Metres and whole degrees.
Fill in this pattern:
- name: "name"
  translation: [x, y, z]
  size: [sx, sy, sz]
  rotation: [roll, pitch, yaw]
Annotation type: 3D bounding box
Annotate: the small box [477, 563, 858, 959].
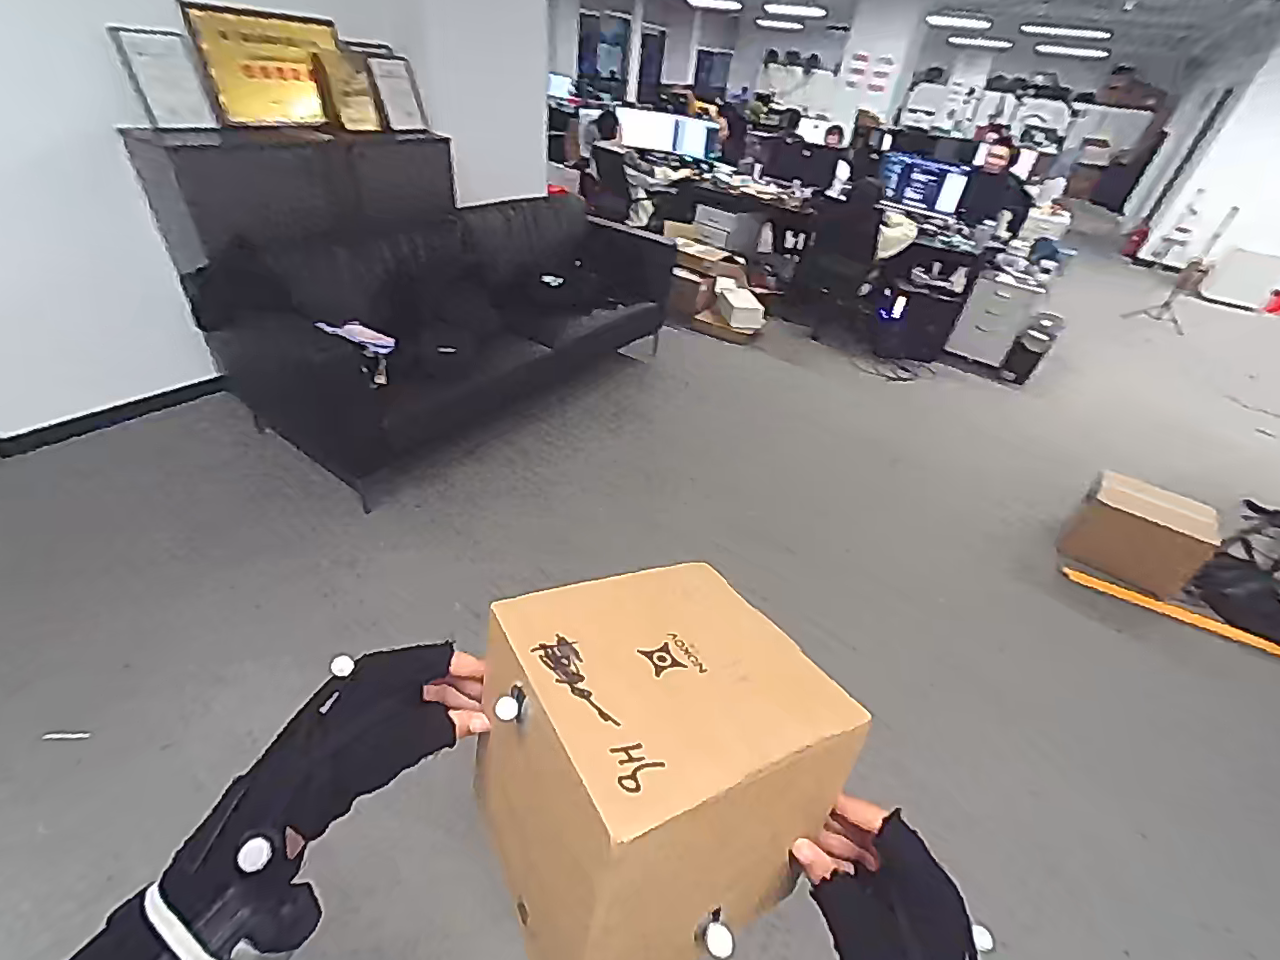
- name: "small box"
  translation: [0.003, 0.179, 0.365]
  size: [0.179, 0.176, 0.168]
  rotation: [-4, 27, -34]
